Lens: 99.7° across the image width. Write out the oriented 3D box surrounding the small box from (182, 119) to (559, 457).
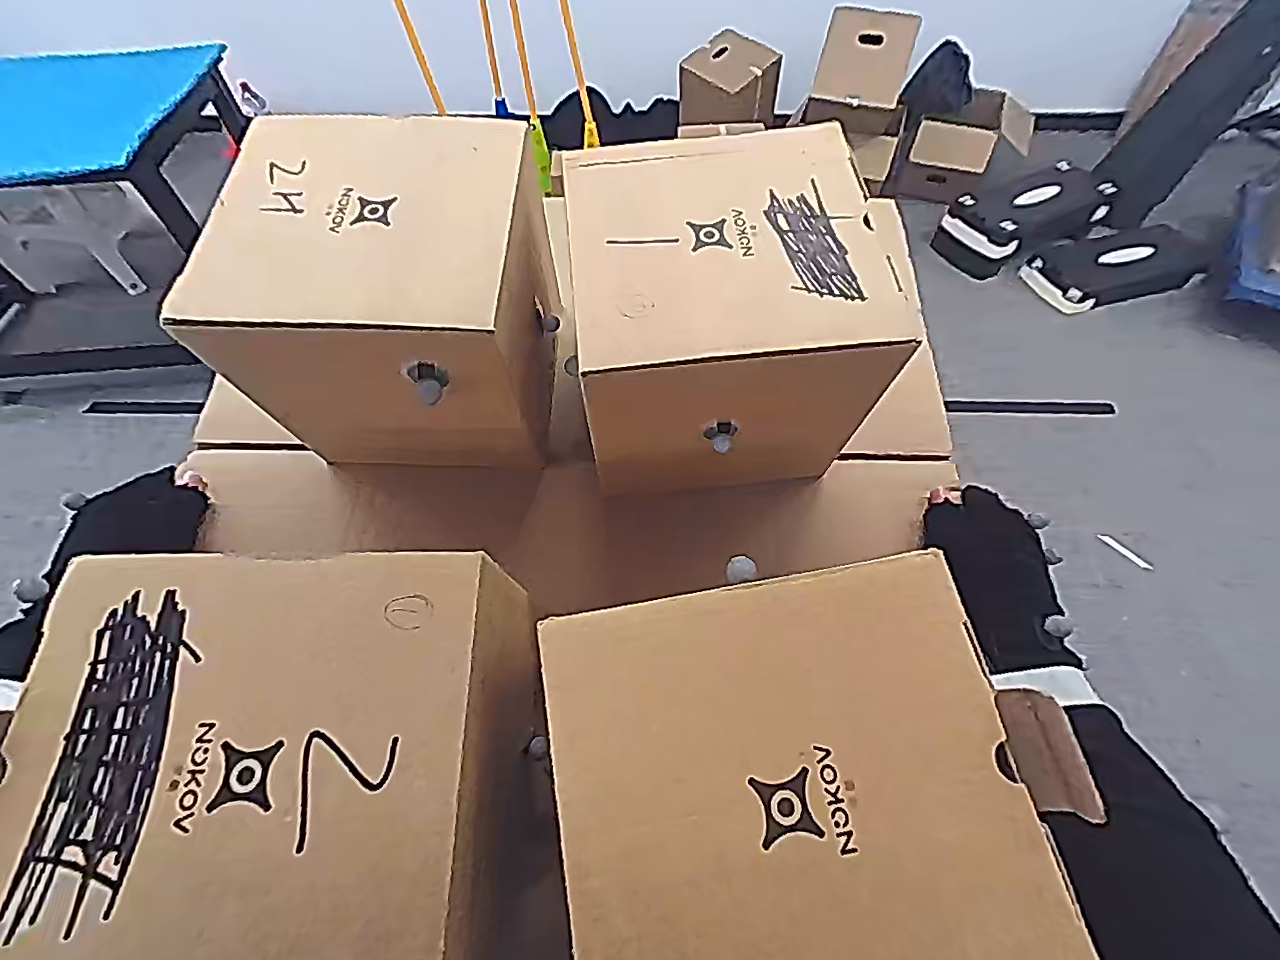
[{"bbox_3d":[-0.160,-0.126,0.398,0.179,0.176,0.168,2,66,1],"label":"small box"}]
